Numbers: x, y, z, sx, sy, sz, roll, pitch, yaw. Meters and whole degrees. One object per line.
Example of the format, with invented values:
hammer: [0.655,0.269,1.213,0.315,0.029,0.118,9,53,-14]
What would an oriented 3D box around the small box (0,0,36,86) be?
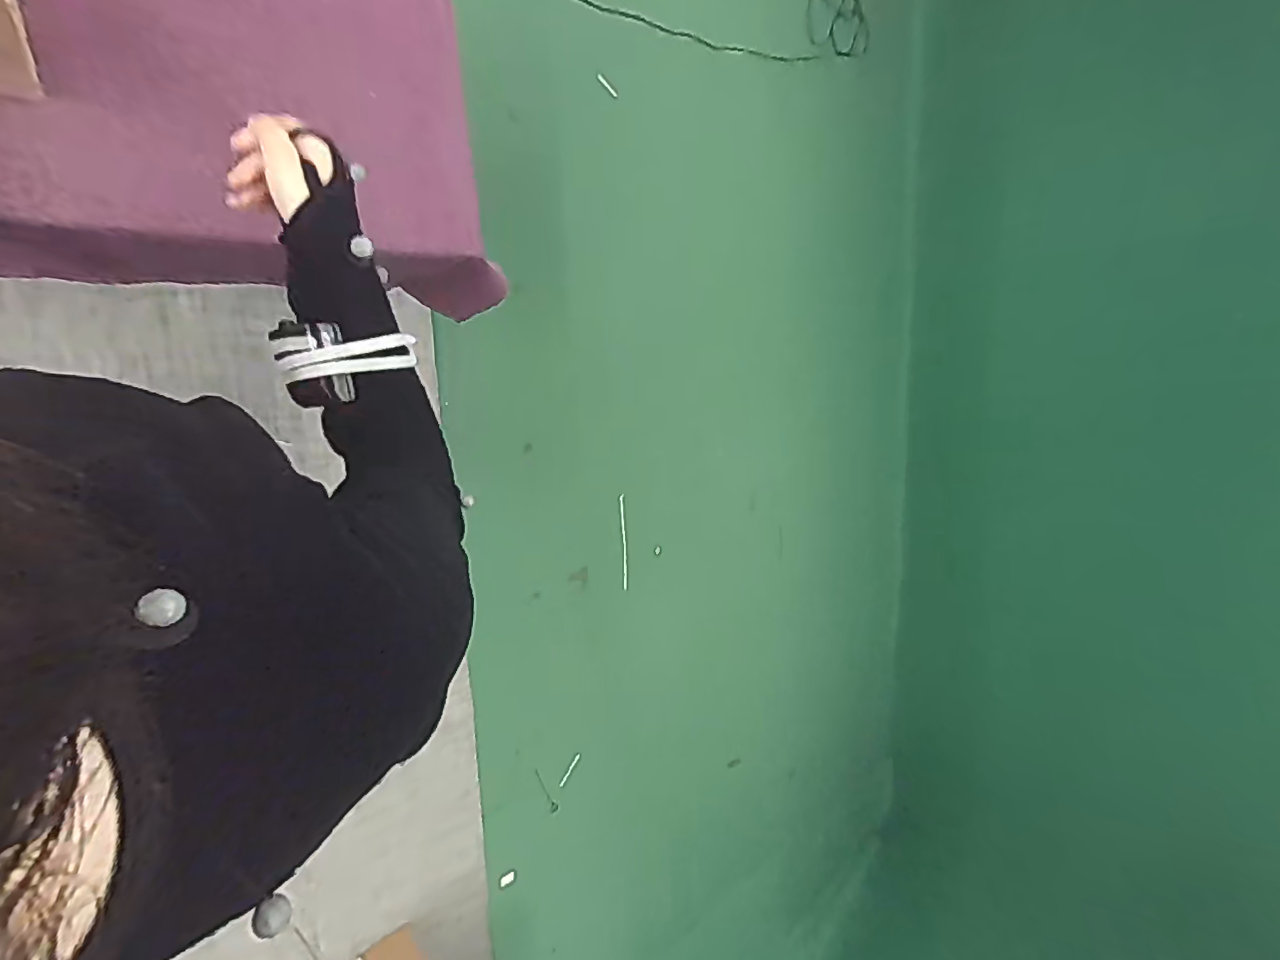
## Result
small box: [-0.597,-0.432,0.400,0.179,0.176,0.168,-15,105,-40]
